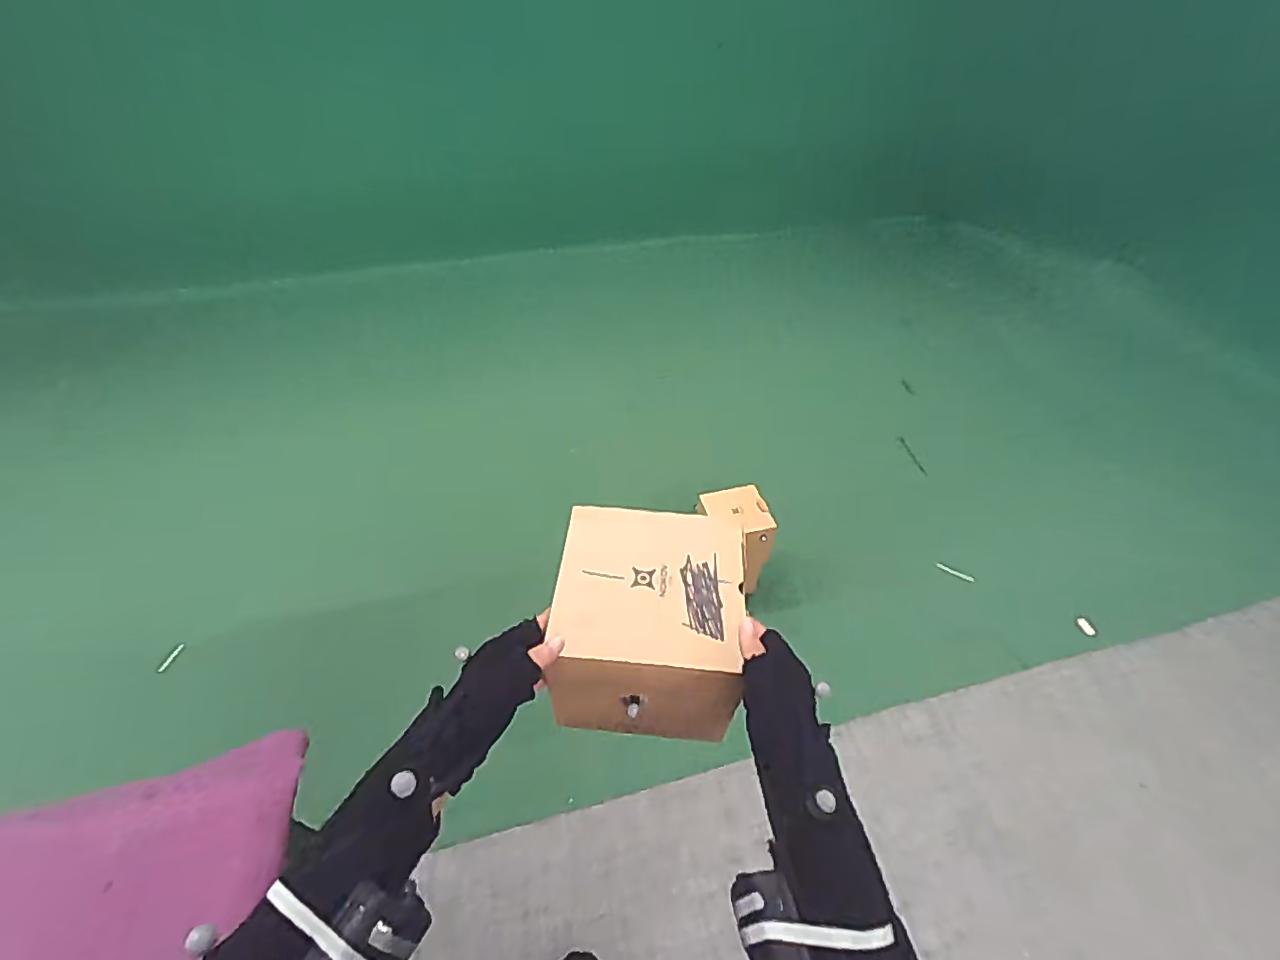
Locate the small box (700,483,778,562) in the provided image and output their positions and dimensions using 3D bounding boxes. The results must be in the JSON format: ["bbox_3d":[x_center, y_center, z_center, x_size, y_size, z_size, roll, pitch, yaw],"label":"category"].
[{"bbox_3d":[0.277,0.135,1.574,0.179,0.176,0.168,-10,47,-11],"label":"small box"}]

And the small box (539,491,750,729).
[{"bbox_3d":[0.009,0.137,0.555,0.179,0.176,0.168,8,45,4],"label":"small box"}]
